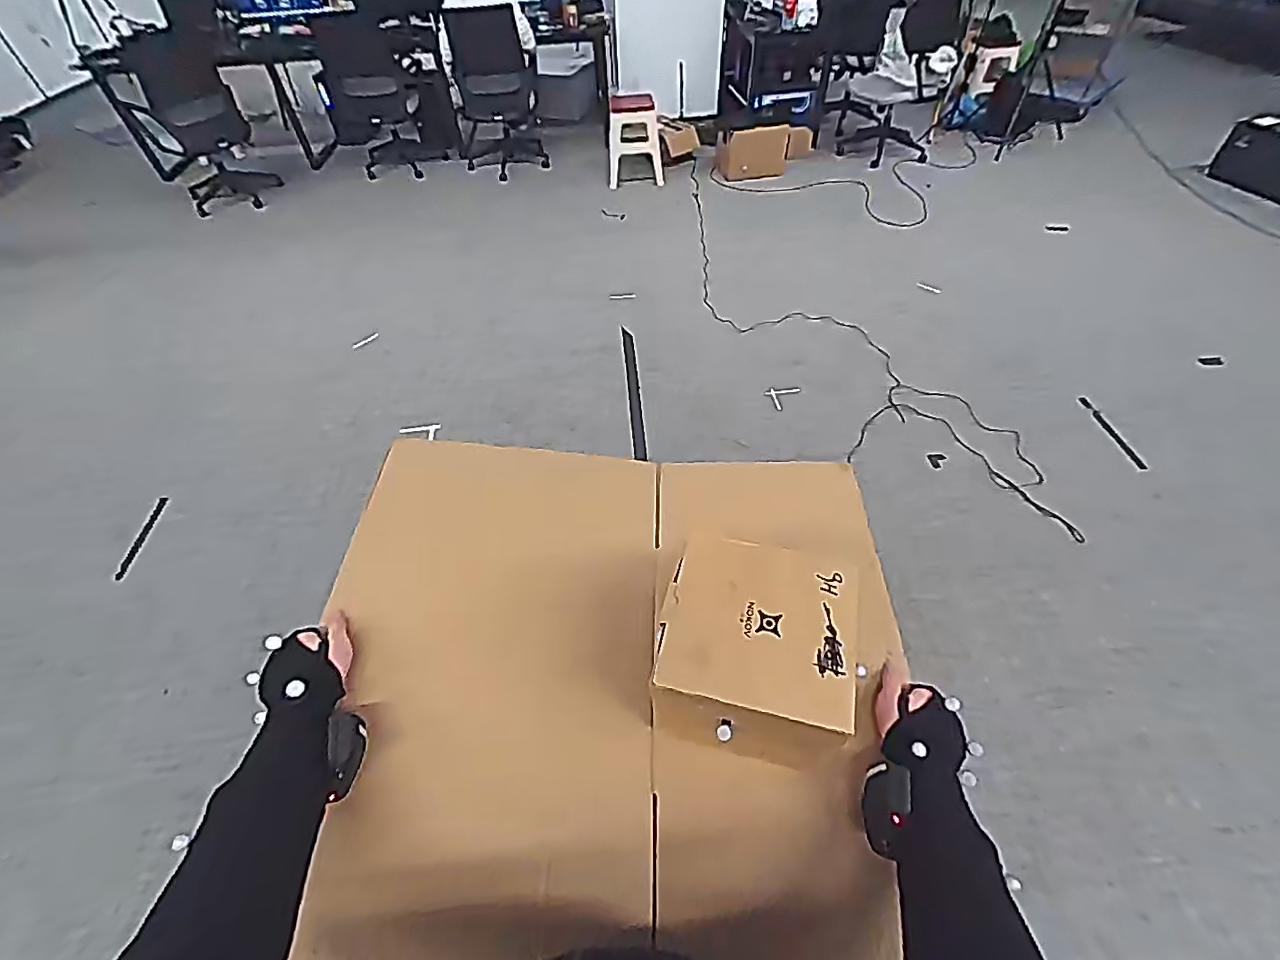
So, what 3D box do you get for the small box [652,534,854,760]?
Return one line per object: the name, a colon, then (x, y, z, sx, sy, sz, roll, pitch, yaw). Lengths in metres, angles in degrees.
small box: (0.121, 0.182, 0.581, 0.179, 0.176, 0.168, 9, 53, 13)
